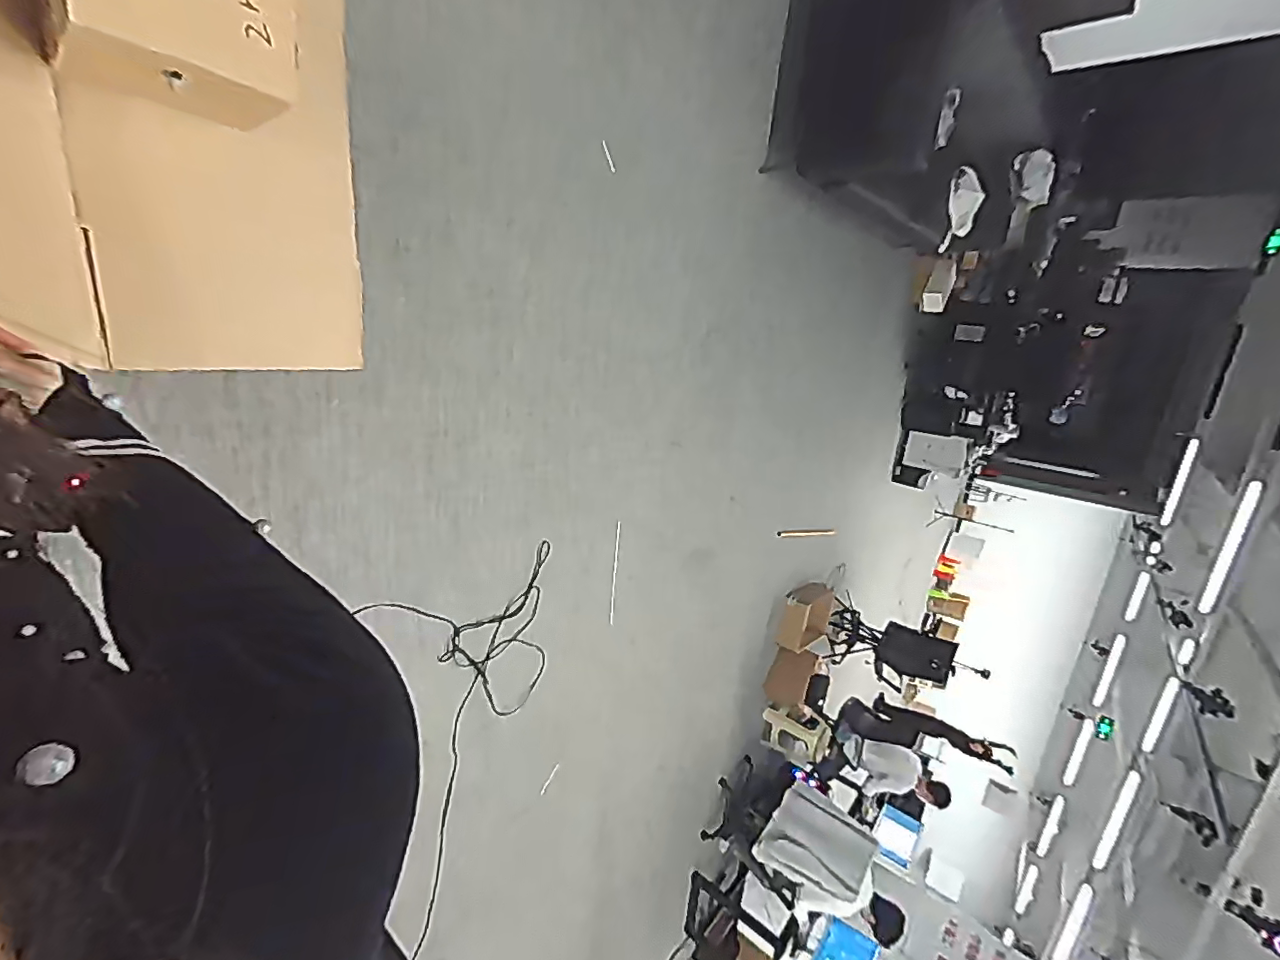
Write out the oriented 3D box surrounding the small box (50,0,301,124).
[{"bbox_3d":[-0.470,-0.489,0.546,0.179,0.176,0.168,-9,111,-49],"label":"small box"}]
